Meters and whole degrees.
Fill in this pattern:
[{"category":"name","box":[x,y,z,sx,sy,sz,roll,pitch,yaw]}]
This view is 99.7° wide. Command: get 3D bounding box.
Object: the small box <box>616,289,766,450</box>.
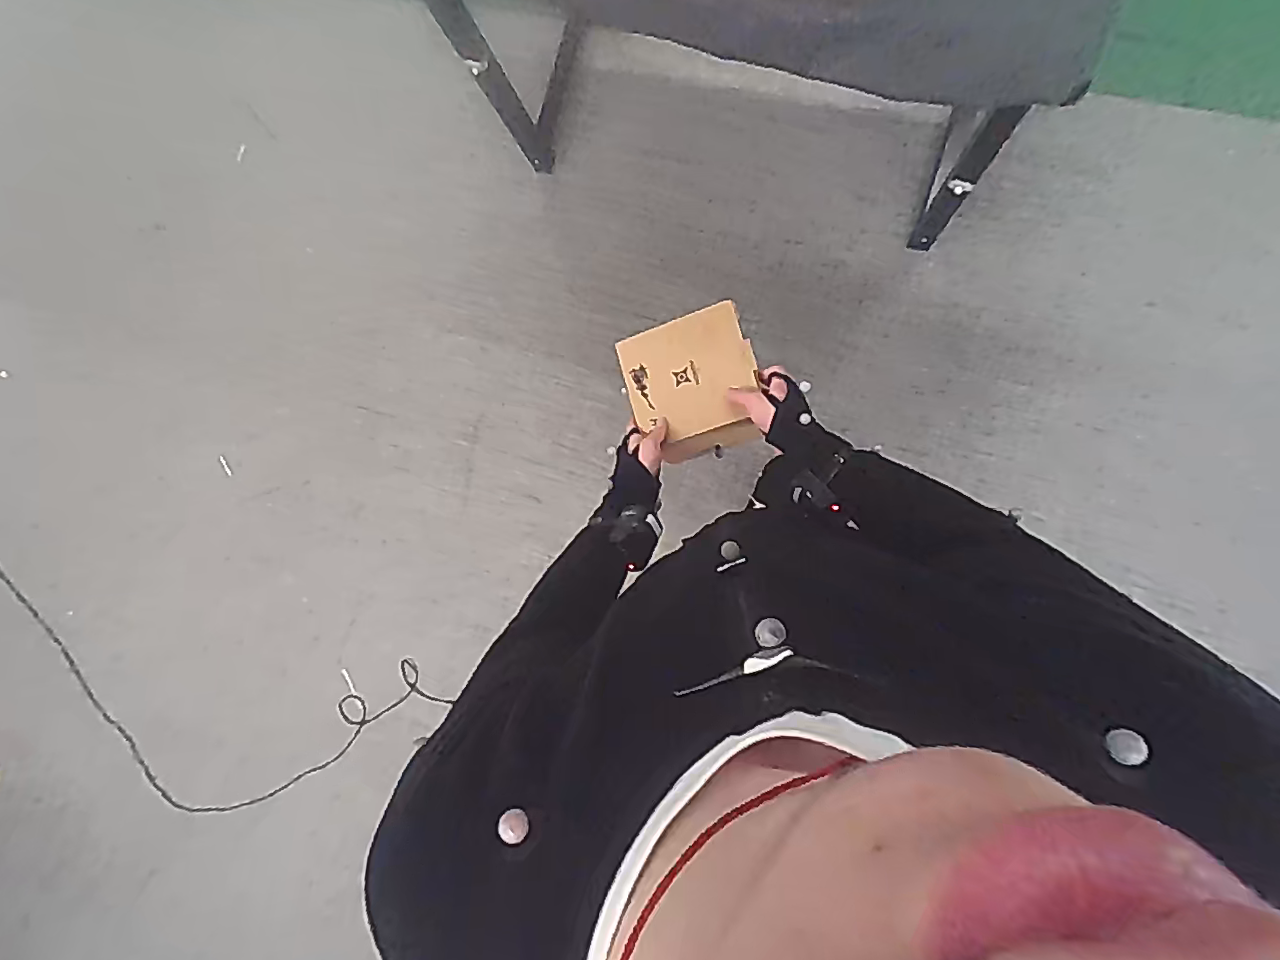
[{"category":"small box","box":[0.084,-0.153,0.812,0.179,0.176,0.168,-17,81,13]}]
